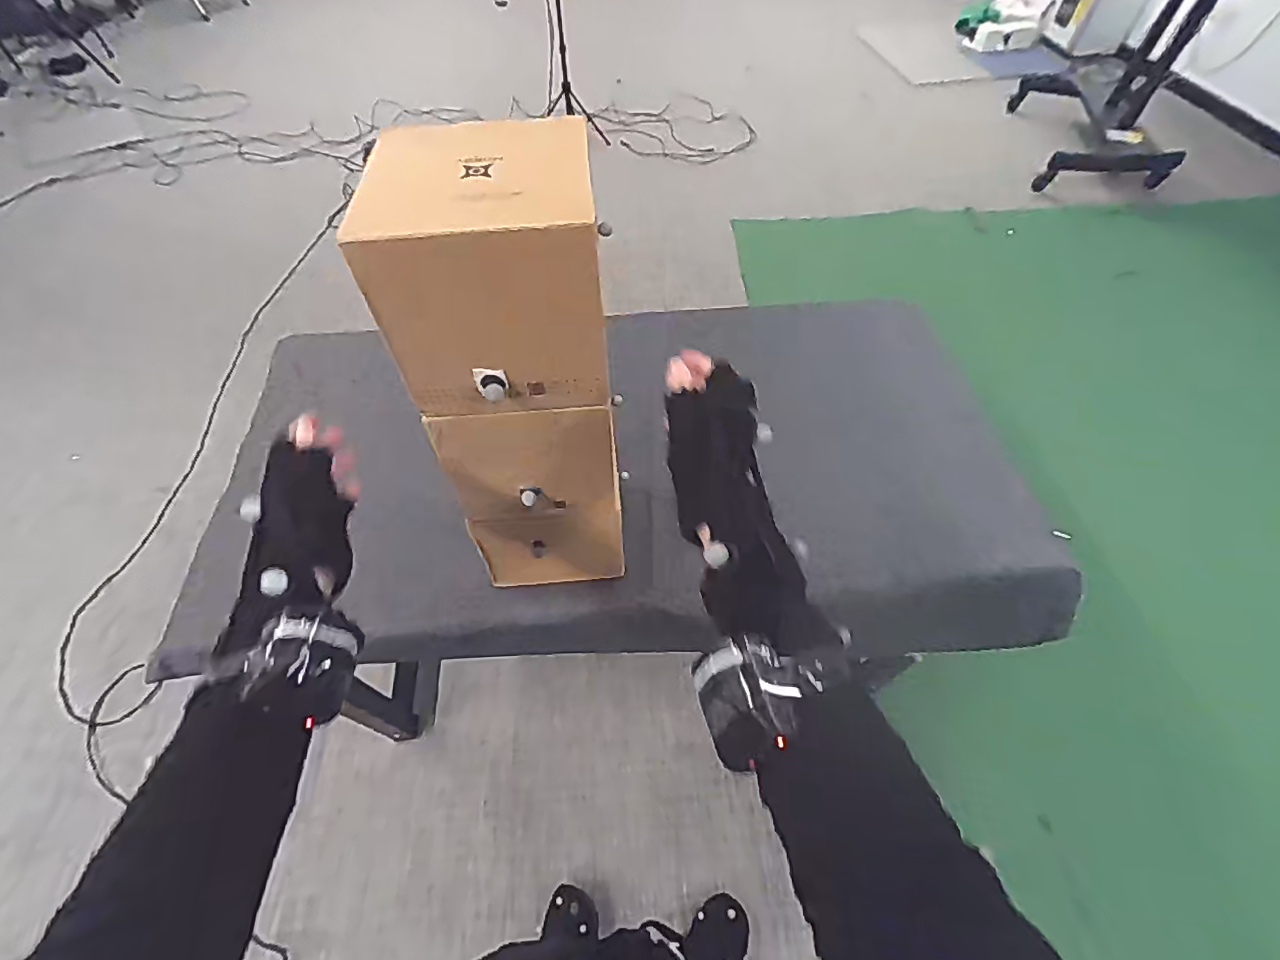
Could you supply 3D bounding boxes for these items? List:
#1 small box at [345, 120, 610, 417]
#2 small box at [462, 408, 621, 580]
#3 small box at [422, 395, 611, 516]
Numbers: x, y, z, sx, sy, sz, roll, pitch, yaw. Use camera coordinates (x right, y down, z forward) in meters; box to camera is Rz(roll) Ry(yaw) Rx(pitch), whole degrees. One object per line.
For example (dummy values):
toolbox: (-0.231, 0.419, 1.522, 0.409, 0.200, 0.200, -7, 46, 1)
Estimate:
small box: (-0.115, -0.176, 0.459, 0.168, 0.176, 0.179, -5, 54, -3)
small box: (-0.119, 0.022, 0.719, 0.179, 0.176, 0.168, -4, 54, -3)
small box: (-0.117, -0.079, 0.589, 0.168, 0.176, 0.179, -3, 54, -3)
